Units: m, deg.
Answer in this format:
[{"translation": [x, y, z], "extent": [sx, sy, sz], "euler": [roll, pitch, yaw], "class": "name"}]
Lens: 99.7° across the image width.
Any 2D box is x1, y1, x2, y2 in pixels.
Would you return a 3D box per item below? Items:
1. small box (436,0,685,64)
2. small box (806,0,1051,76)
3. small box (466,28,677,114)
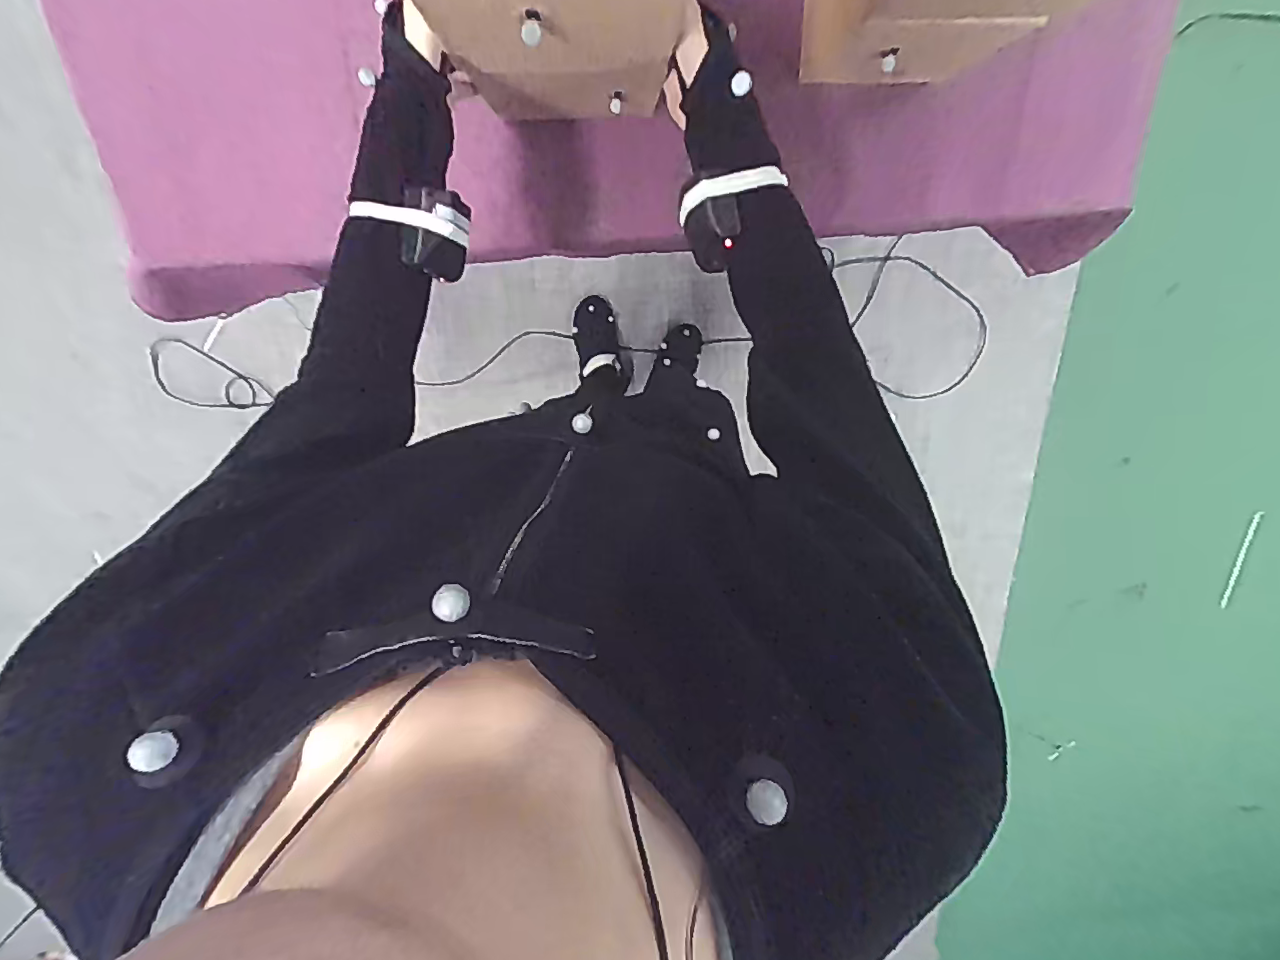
[{"translation": [-0.054, -0.390, 0.342], "extent": [0.179, 0.176, 0.168], "euler": [-3, 112, -4], "class": "small box"}, {"translation": [0.267, -0.507, 0.508], "extent": [0.168, 0.176, 0.179], "euler": [-2, 111, -3], "class": "small box"}, {"translation": [-0.064, -0.453, 0.494], "extent": [0.179, 0.176, 0.168], "euler": [-3, 112, -4], "class": "small box"}]
